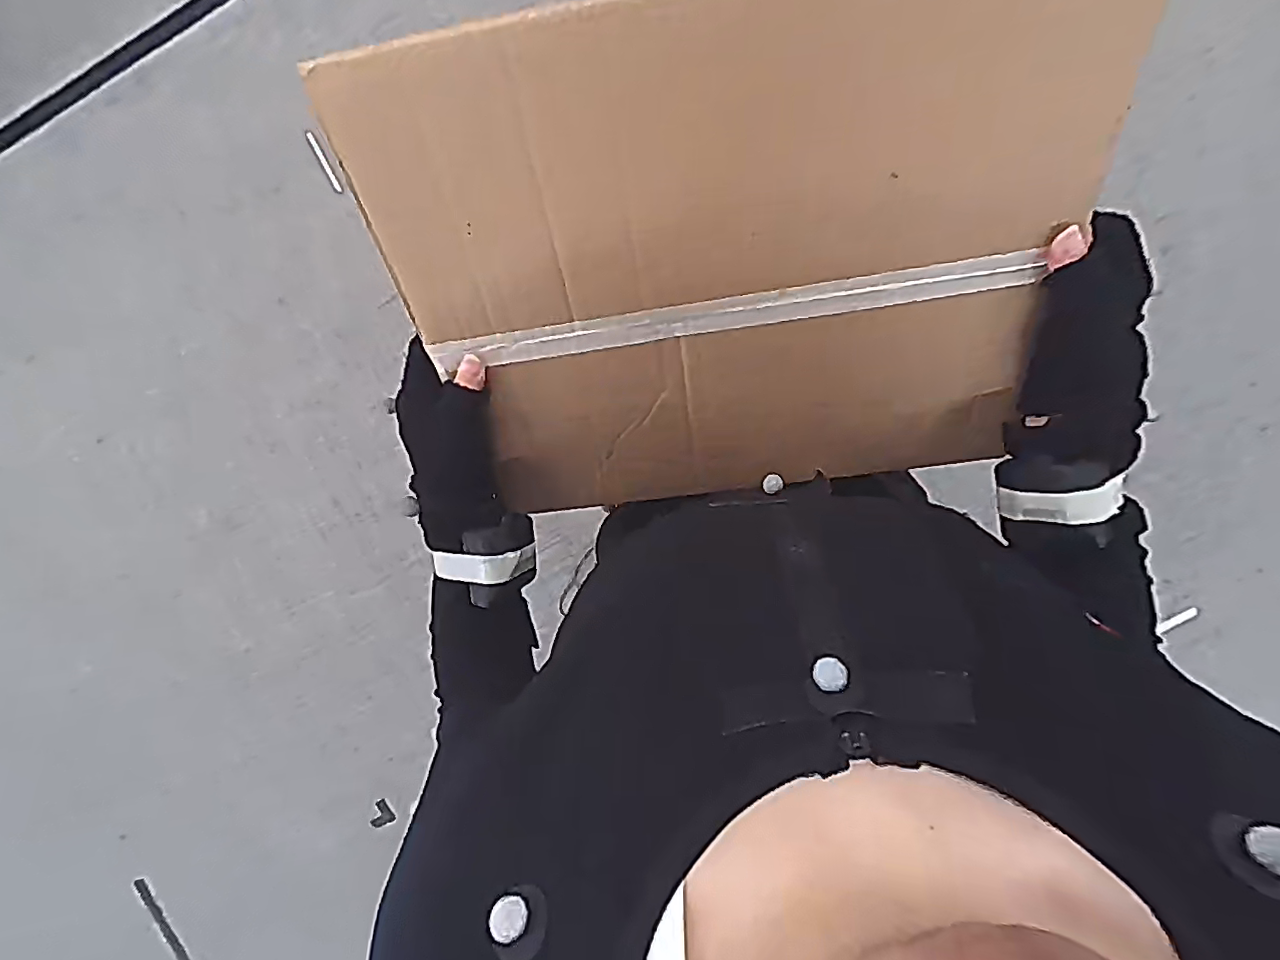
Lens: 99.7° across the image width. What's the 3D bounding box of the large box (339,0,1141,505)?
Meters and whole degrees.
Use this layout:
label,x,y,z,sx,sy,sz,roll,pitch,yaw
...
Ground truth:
label,x,y,z,sx,sy,sz,roll,pitch,yaw
large box,0.061,-0.215,0.466,0.408,0.320,0.320,-7,132,6
